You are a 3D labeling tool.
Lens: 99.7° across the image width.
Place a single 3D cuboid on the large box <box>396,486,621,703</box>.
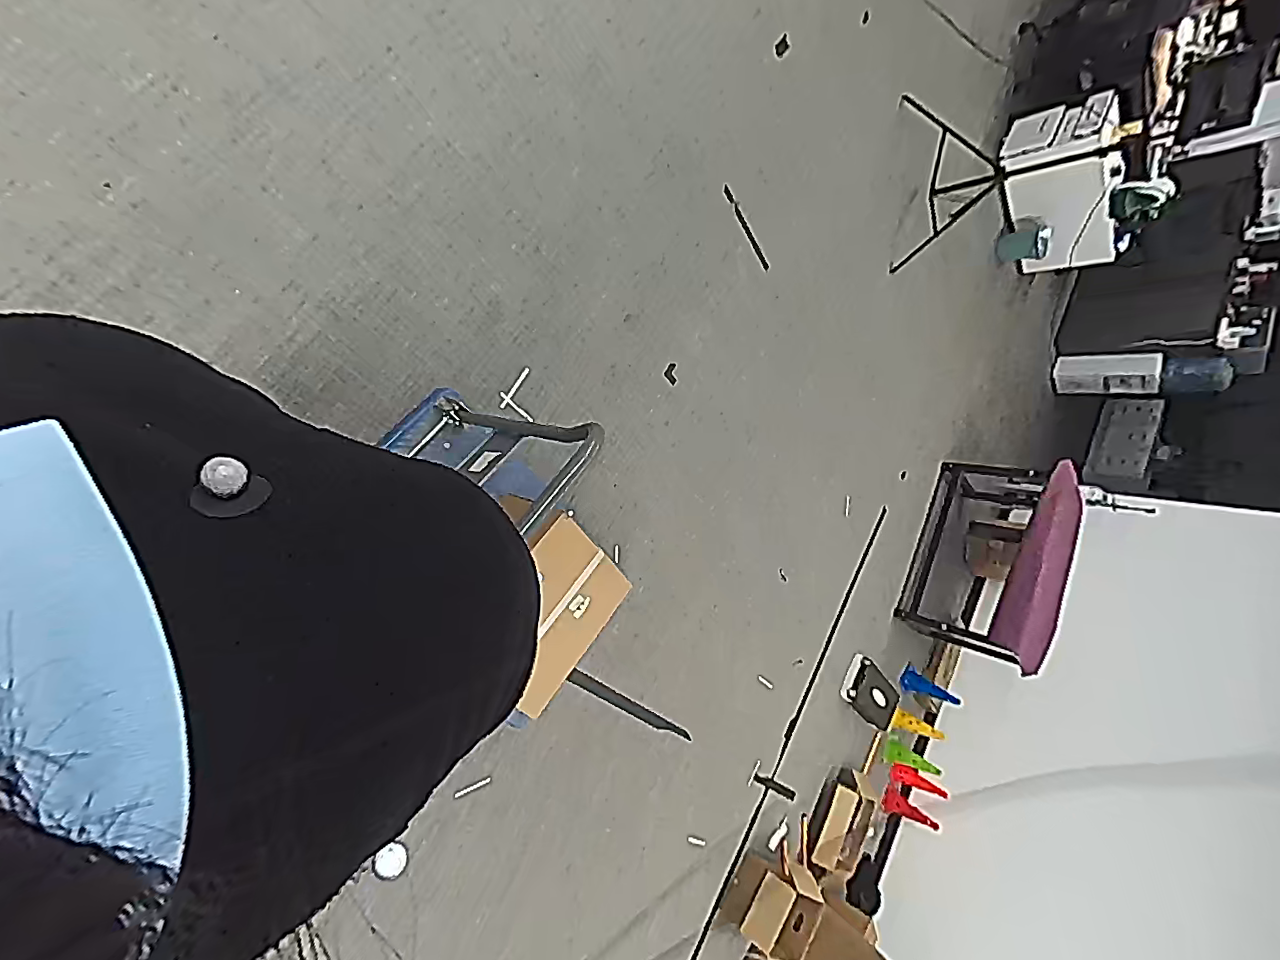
[{"bbox_3d":[-0.333,0.274,1.389,0.408,0.320,0.320,-53,128,-22],"label":"large box"}]
